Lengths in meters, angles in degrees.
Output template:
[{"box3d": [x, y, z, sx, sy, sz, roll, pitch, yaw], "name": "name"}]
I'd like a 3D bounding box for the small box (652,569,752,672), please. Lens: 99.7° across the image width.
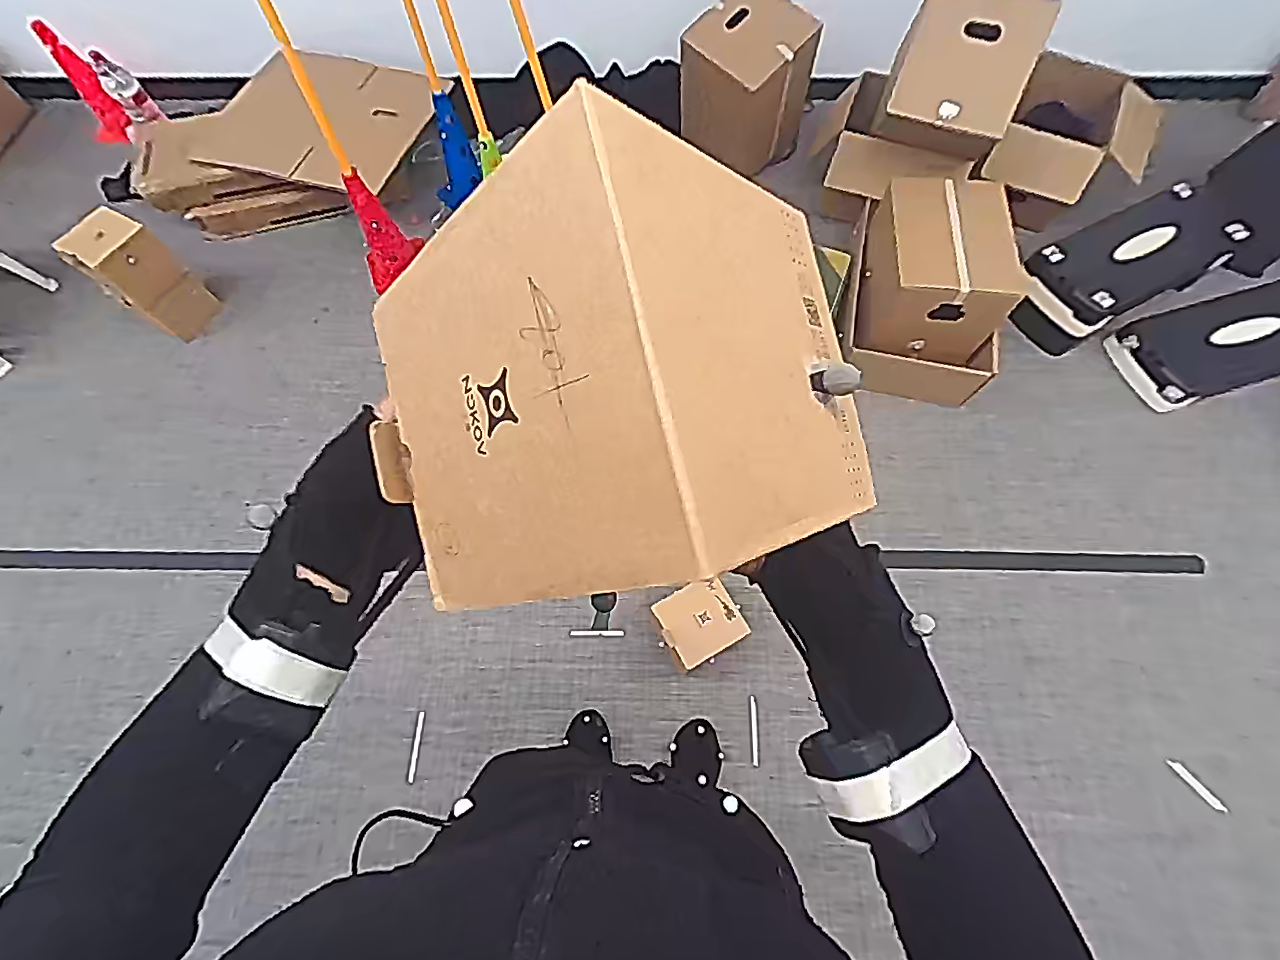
[{"box3d": [0.143, 0.347, 1.310, 0.179, 0.176, 0.168, -30, 70, -12], "name": "small box"}]
